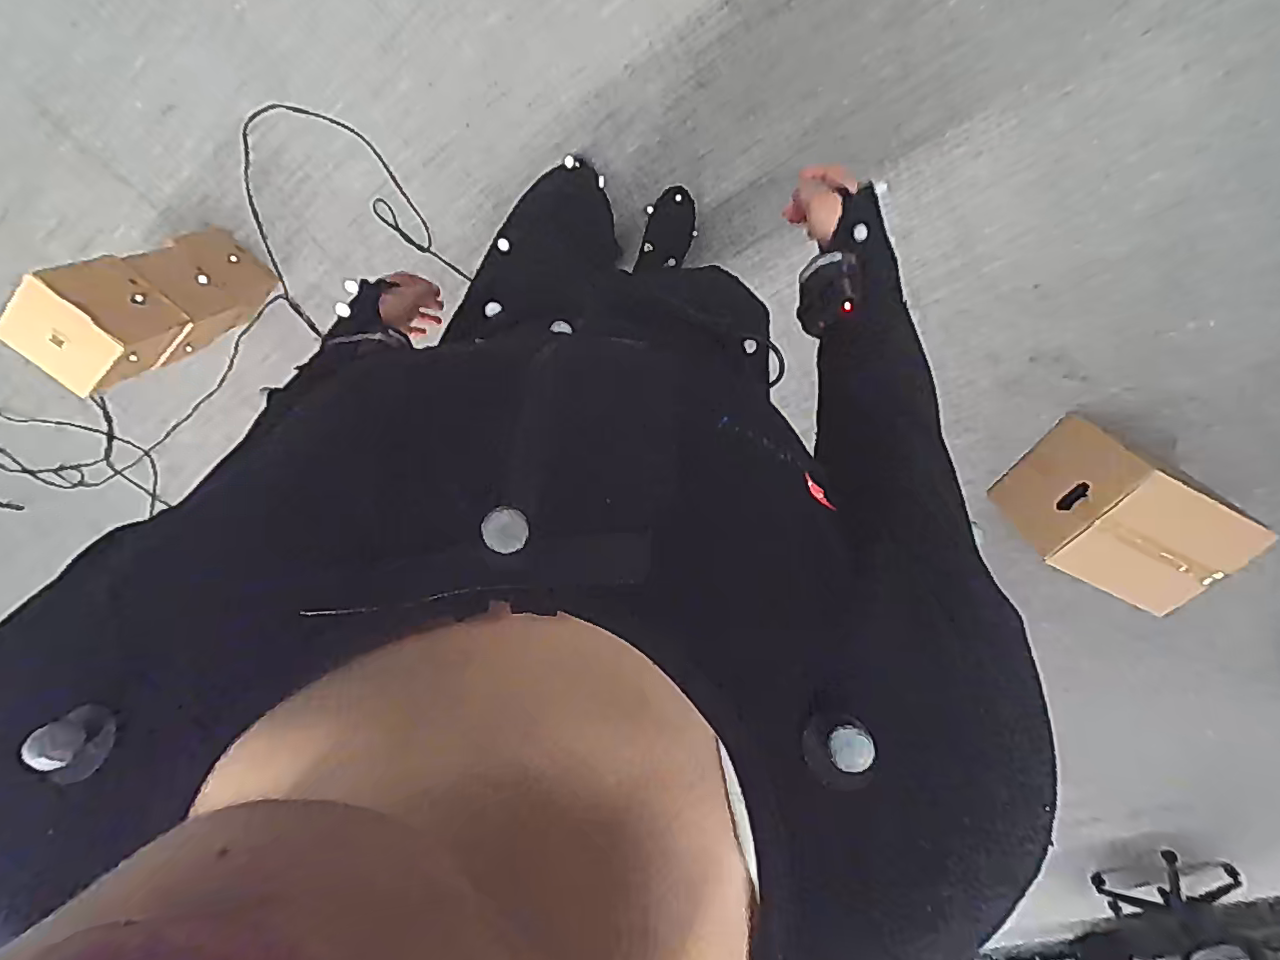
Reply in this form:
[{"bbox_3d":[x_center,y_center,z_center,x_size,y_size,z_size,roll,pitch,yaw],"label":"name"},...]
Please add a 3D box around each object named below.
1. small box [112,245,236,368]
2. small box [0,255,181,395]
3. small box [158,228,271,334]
[{"bbox_3d":[-1.040,-0.381,1.178,0.179,0.176,0.168,-32,116,20],"label":"small box"},{"bbox_3d":[-1.048,-0.299,1.037,0.179,0.176,0.168,-33,115,21],"label":"small box"},{"bbox_3d":[-1.045,-0.480,1.309,0.179,0.176,0.168,-35,114,23],"label":"small box"}]
